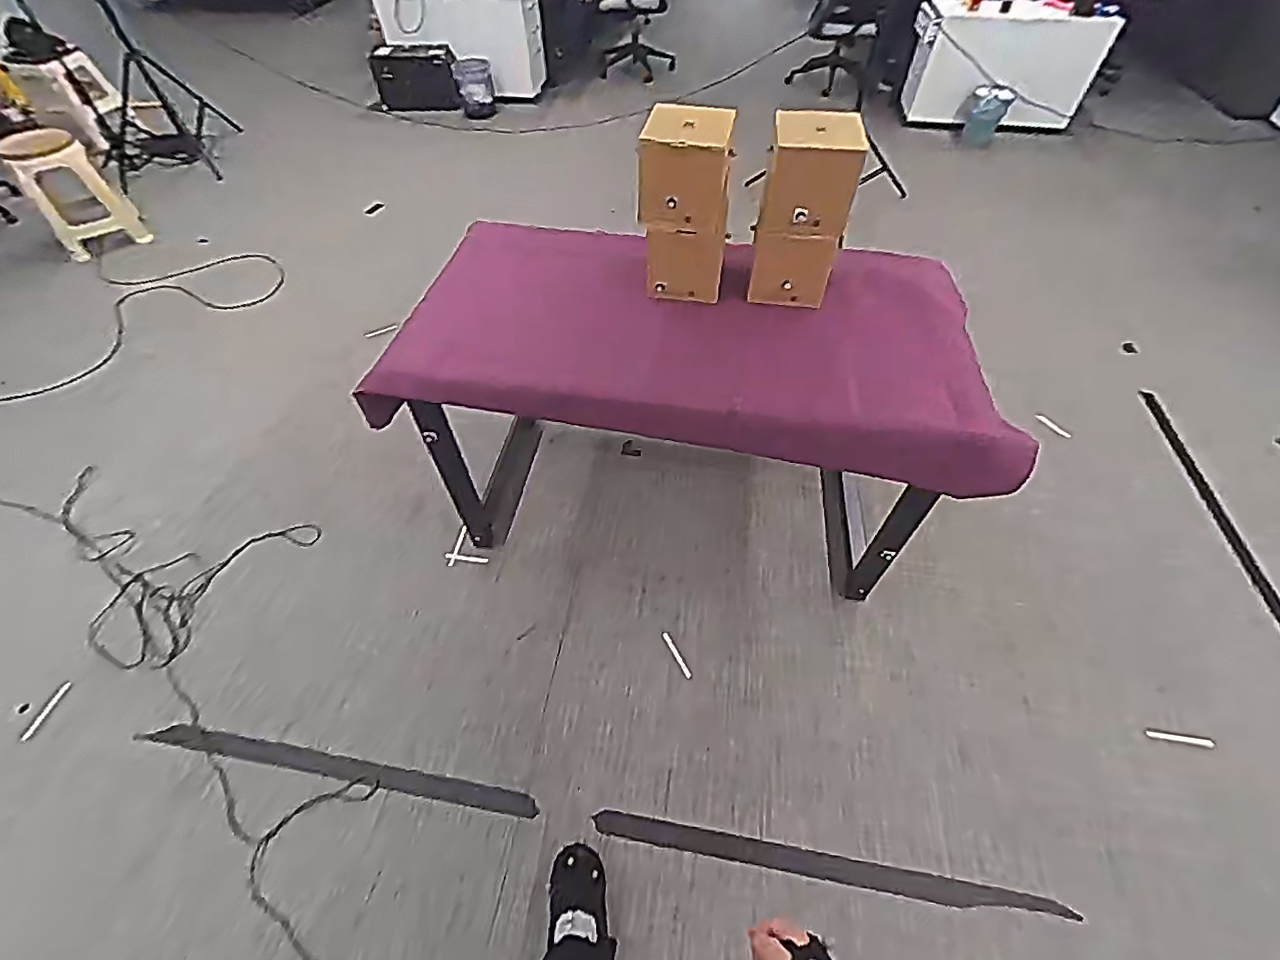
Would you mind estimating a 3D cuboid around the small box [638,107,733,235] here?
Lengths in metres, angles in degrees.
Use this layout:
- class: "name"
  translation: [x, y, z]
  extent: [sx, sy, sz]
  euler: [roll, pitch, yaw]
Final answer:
- class: "small box"
  translation: [0.091, -0.632, 1.111]
  extent: [0.168, 0.176, 0.179]
  euler: [9, 54, 6]

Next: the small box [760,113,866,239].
- class: "small box"
  translation: [0.341, -0.617, 1.100]
  extent: [0.168, 0.176, 0.179]
  euler: [5, 54, 4]

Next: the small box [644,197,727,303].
- class: "small box"
  translation: [0.103, -0.527, 1.236]
  extent: [0.168, 0.176, 0.179]
  euler: [7, 53, 5]

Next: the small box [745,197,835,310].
- class: "small box"
  translation: [0.335, -0.515, 1.227]
  extent: [0.168, 0.176, 0.179]
  euler: [7, 54, 6]
